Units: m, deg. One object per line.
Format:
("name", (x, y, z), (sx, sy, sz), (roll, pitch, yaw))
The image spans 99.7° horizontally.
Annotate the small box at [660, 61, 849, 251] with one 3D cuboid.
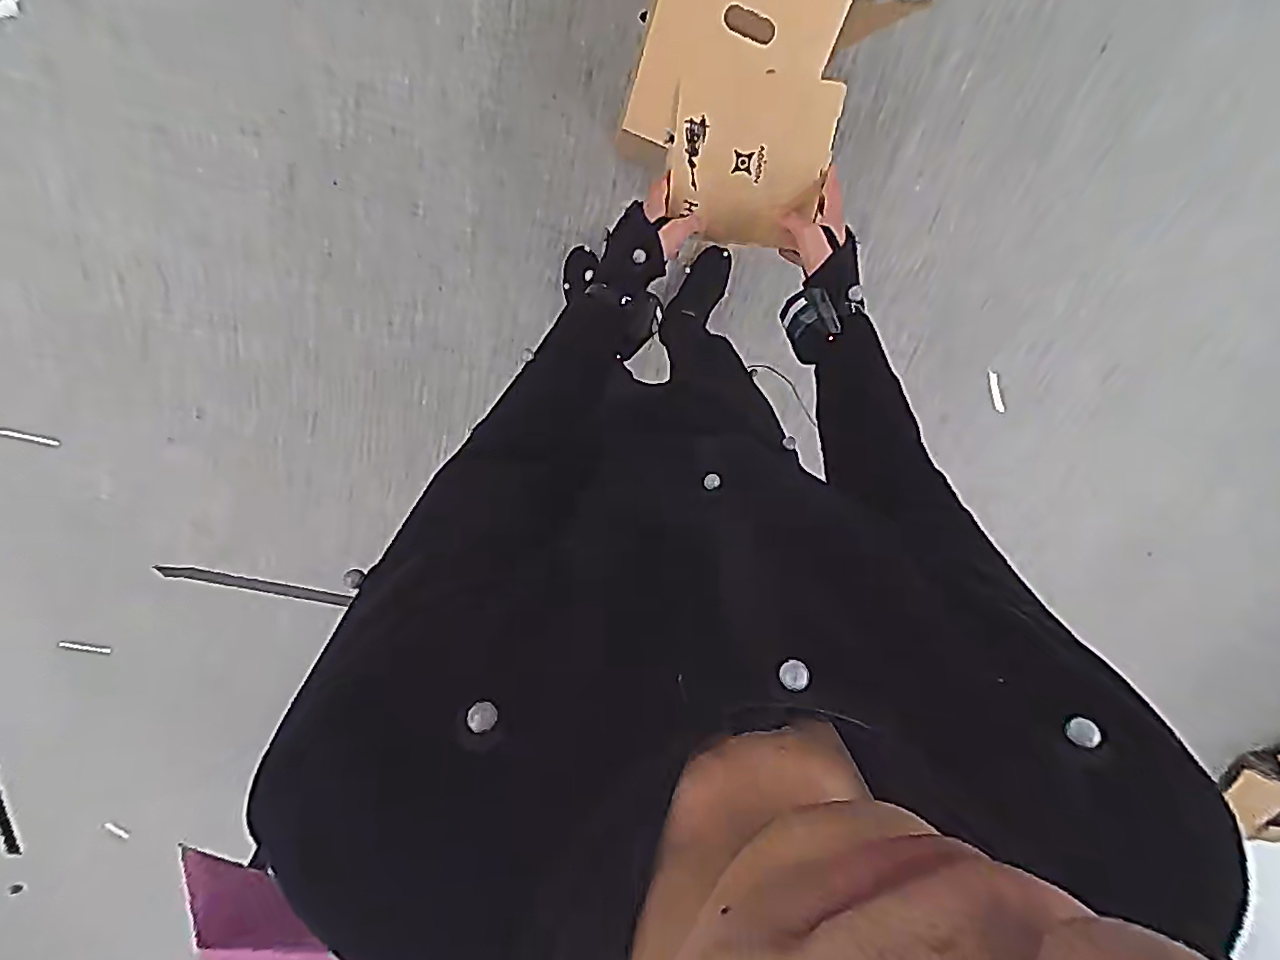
("small box", (0.122, -0.388, 0.660), (0.179, 0.176, 0.168), (5, 120, -3))
